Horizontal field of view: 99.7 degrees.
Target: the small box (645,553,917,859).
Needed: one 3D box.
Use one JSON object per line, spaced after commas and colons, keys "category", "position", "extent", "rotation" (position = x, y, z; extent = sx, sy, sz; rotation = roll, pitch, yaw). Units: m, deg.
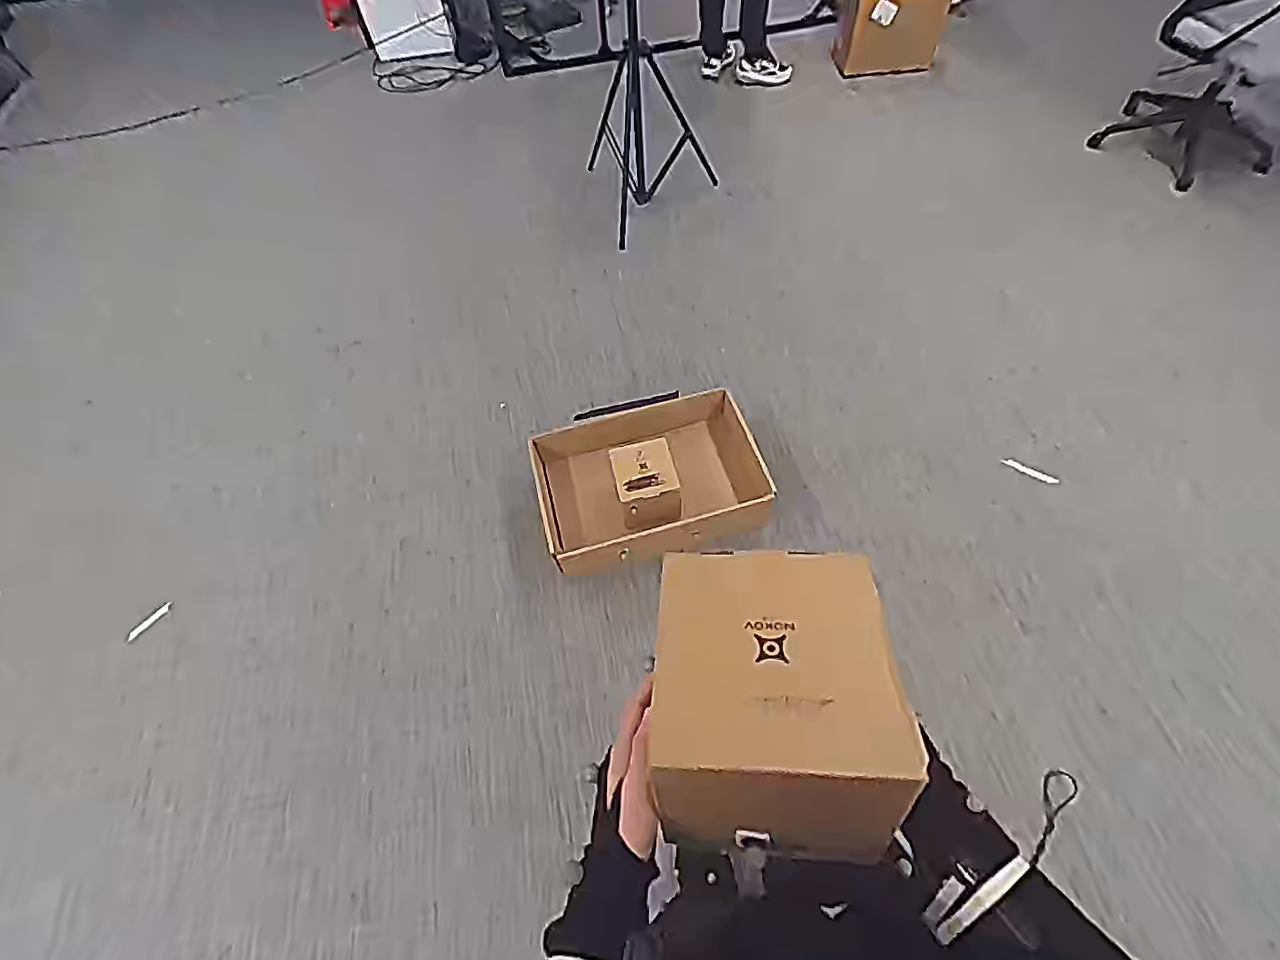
{"category": "small box", "position": [0.099, 0.179, 0.443], "extent": [0.168, 0.176, 0.179], "rotation": [-2, 42, 8]}
